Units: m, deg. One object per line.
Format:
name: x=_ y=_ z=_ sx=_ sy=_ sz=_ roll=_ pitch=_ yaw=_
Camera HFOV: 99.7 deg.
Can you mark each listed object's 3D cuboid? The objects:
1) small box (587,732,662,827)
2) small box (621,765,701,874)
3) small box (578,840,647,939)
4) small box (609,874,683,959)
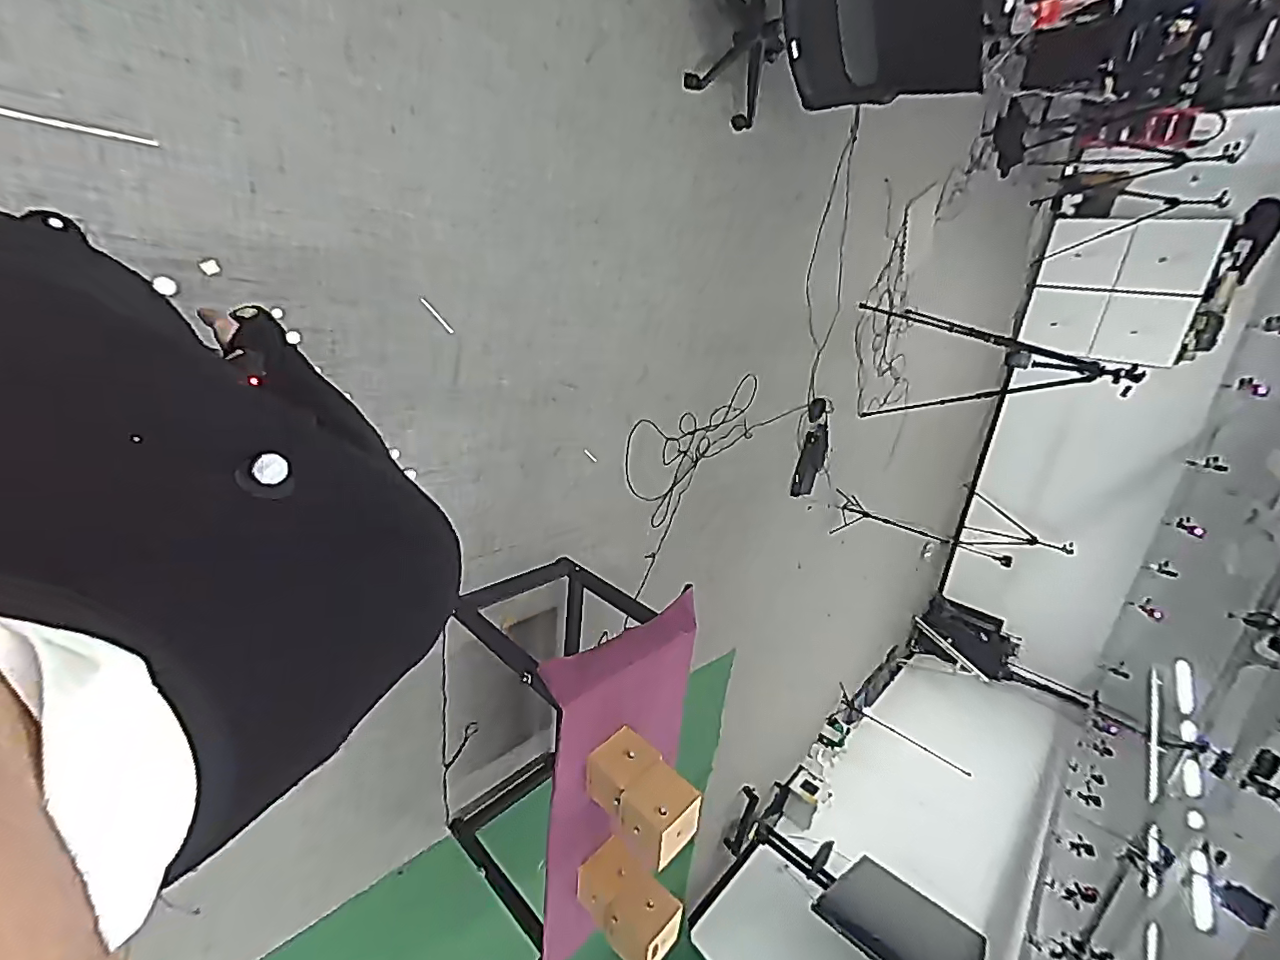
small box: x=-0.051 y=0.950 z=1.726 sx=0.179 sy=0.176 sz=0.168 roll=-21 pitch=121 yaw=-44
small box: x=0.059 y=1.002 z=1.611 sx=0.179 sy=0.176 sz=0.168 roll=-20 pitch=122 yaw=-44
small box: x=-0.099 y=1.419 z=1.884 sx=0.179 sy=0.176 sz=0.168 roll=-18 pitch=119 yaw=-47
small box: x=0.018 y=1.466 z=1.777 sx=0.179 sy=0.176 sz=0.168 roll=-14 pitch=117 yaw=-49
